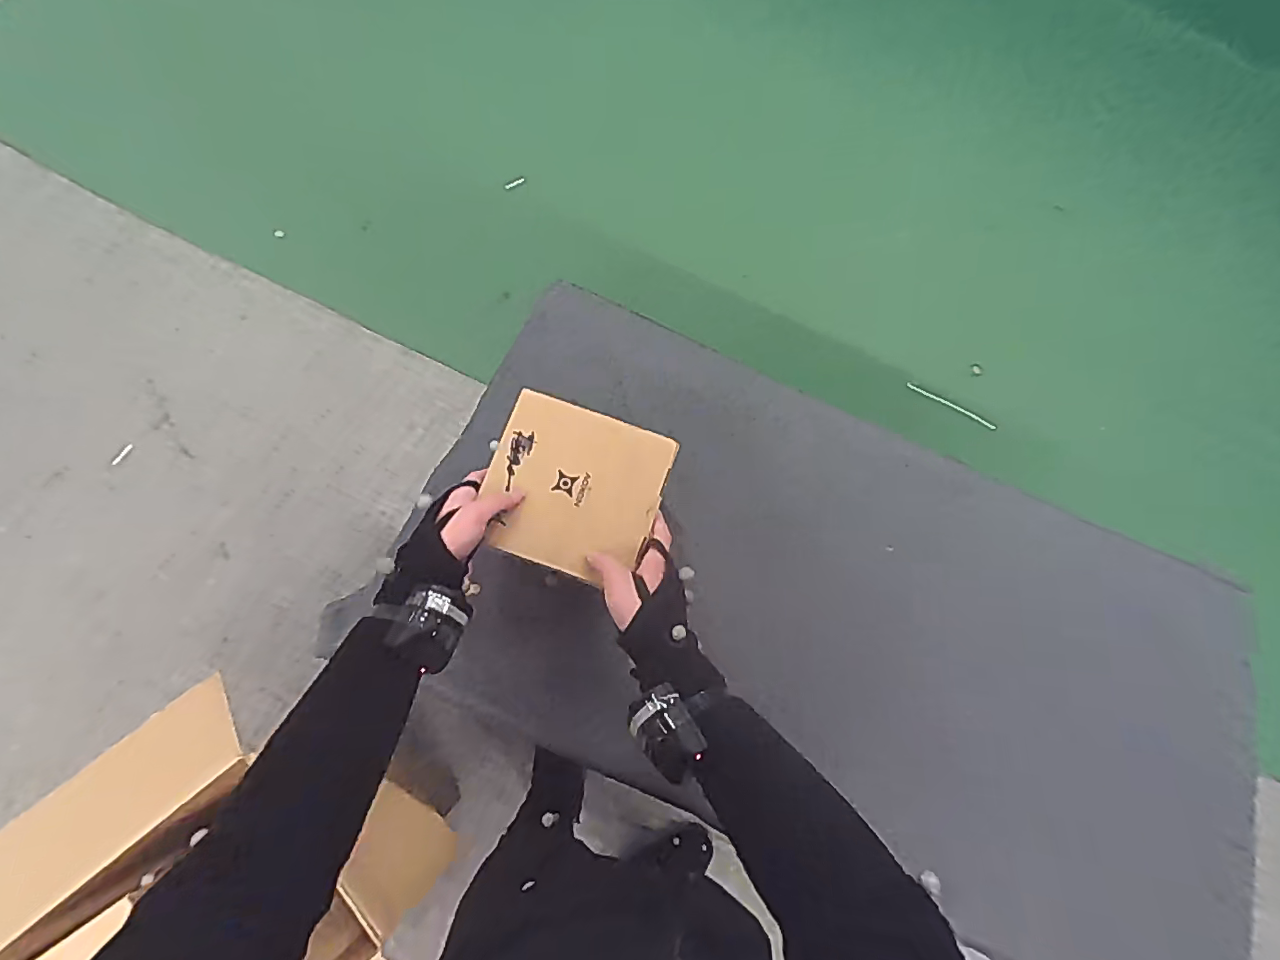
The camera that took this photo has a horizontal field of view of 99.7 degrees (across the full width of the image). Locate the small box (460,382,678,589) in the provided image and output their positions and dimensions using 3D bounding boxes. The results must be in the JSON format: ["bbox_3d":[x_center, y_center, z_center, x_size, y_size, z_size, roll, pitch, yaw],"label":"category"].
[{"bbox_3d":[-0.073,0.017,0.619,0.179,0.176,0.168,20,77,0],"label":"small box"}]
